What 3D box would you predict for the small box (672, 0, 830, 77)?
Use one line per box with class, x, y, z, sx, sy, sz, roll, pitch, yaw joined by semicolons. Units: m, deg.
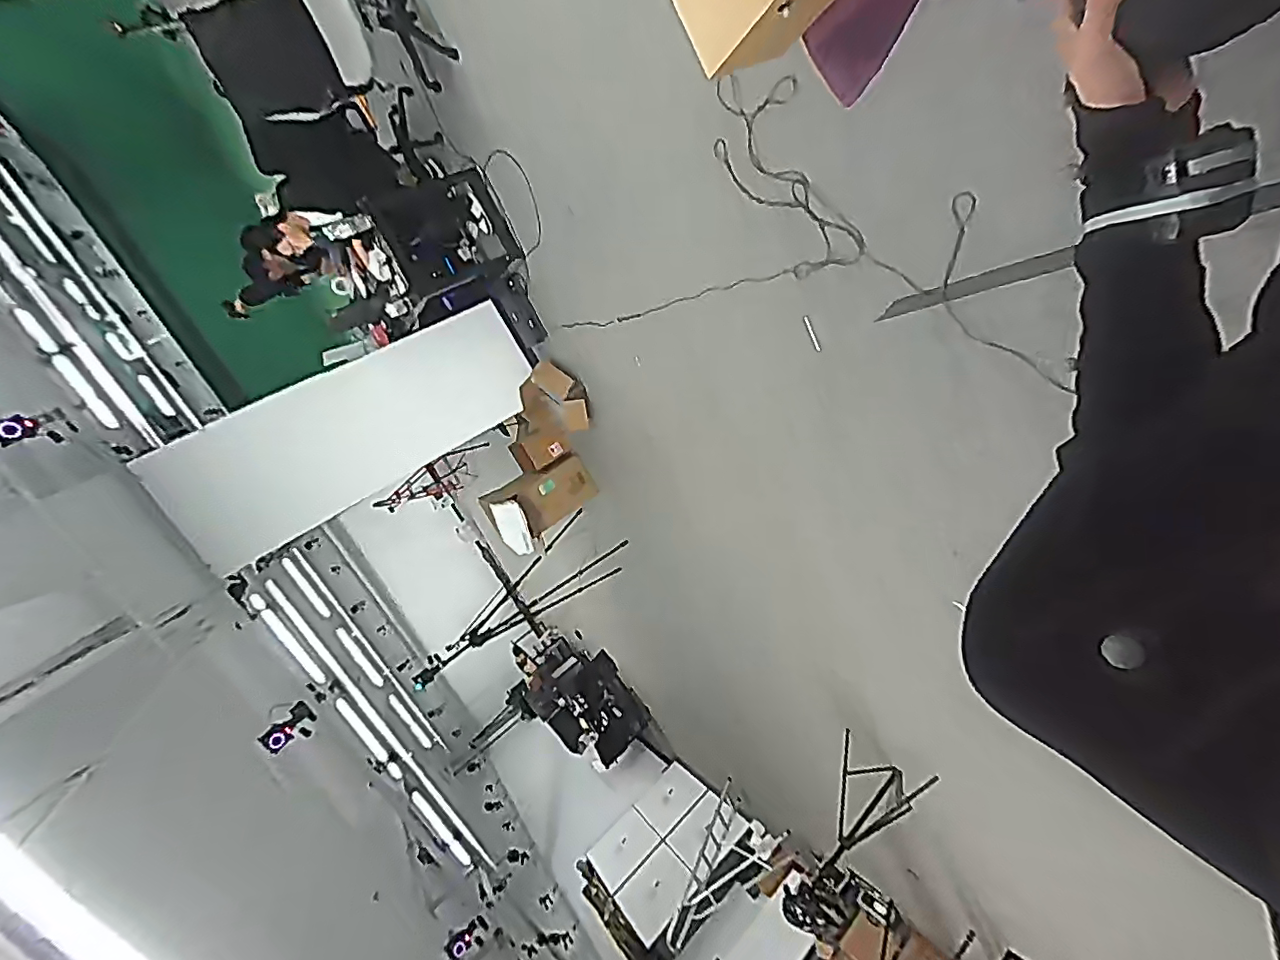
small box;0.164;-0.718;0.755;0.168;0.176;0.179;60;154;-12
